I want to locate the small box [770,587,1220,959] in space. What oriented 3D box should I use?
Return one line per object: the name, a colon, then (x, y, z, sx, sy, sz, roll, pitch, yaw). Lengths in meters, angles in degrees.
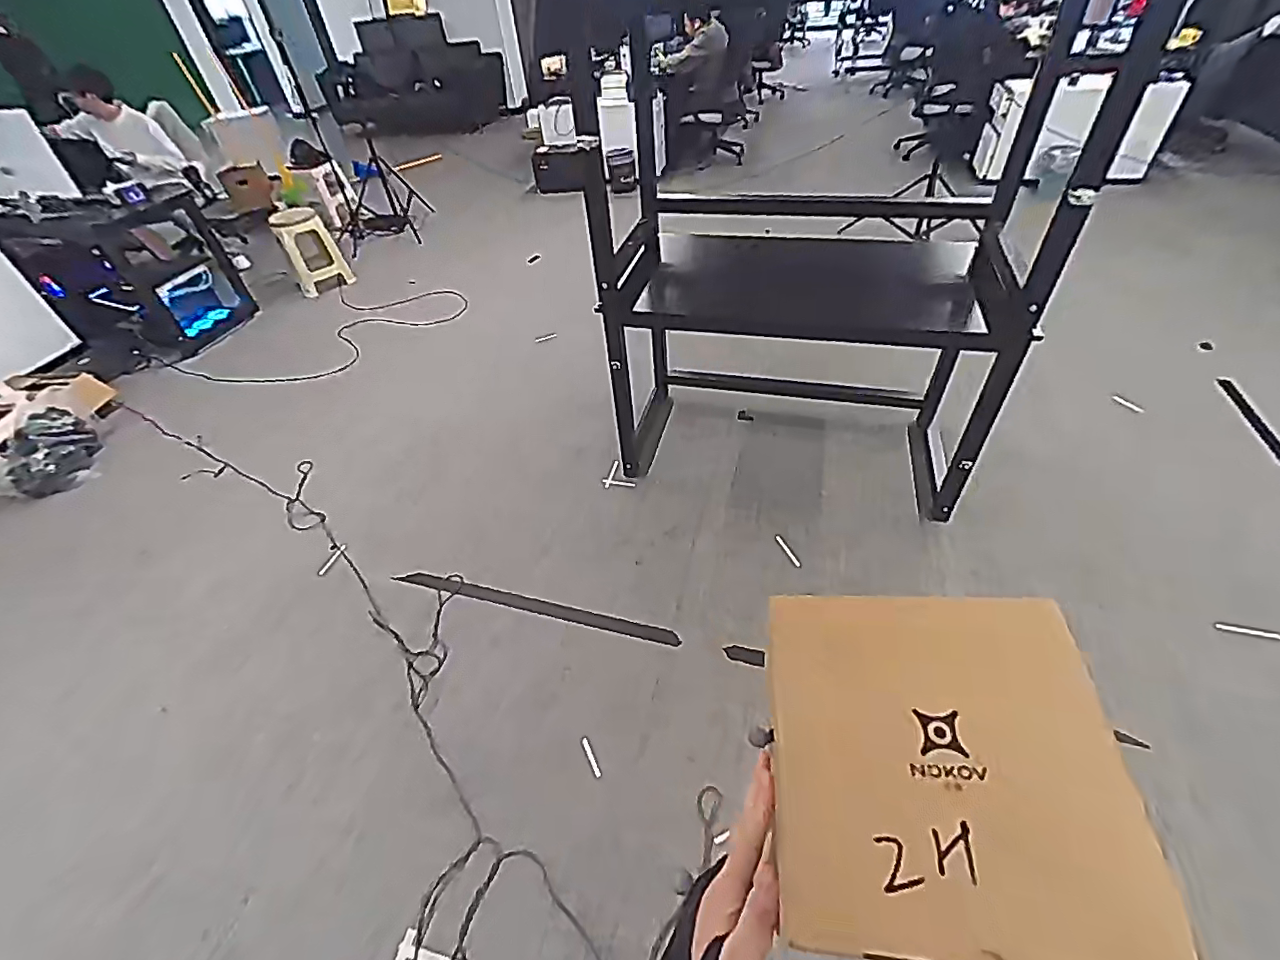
small box: (0.171, 0.184, 0.337, 0.168, 0.176, 0.179, -2, 52, 11)
